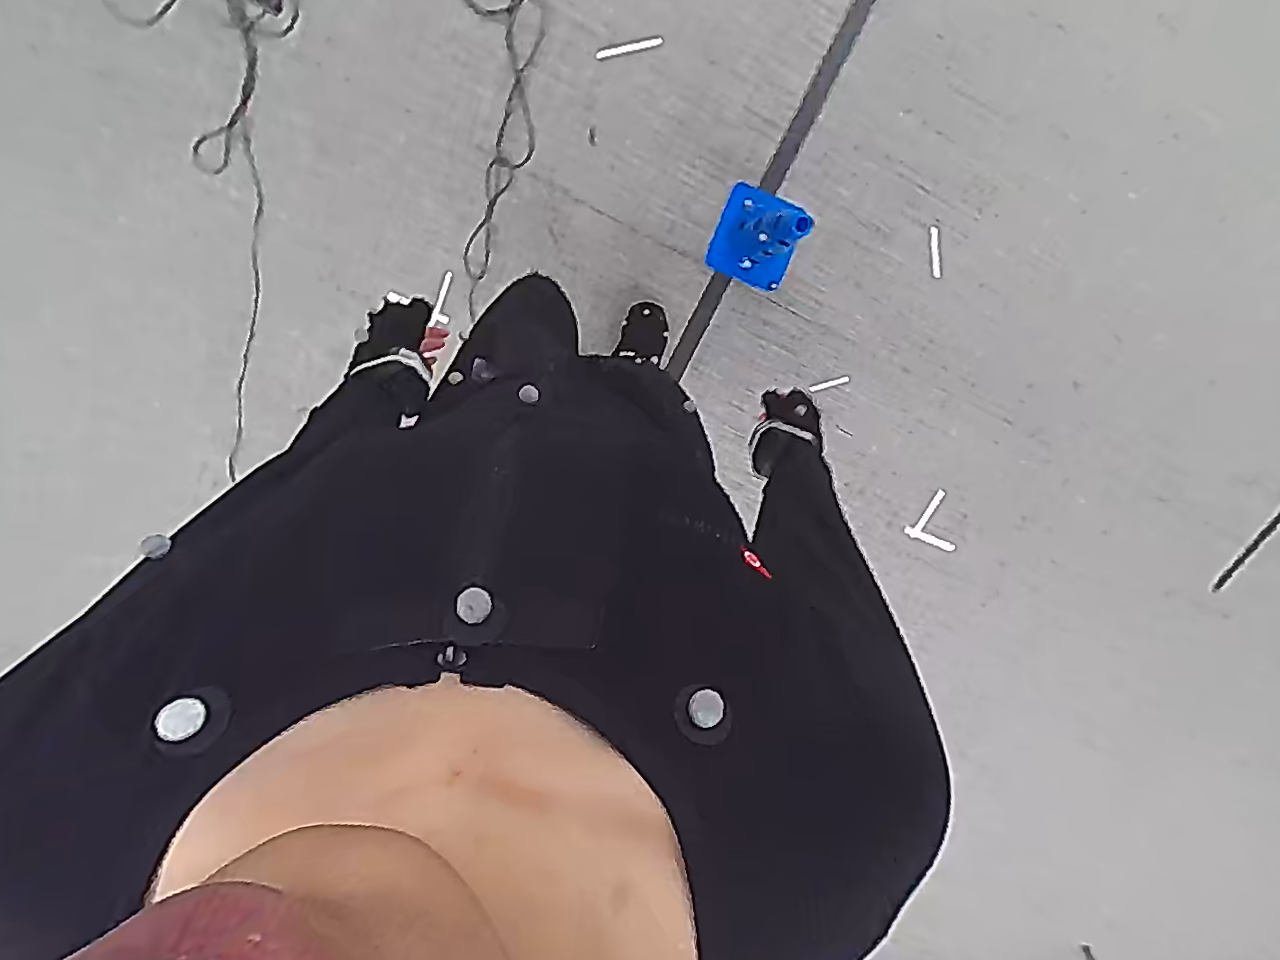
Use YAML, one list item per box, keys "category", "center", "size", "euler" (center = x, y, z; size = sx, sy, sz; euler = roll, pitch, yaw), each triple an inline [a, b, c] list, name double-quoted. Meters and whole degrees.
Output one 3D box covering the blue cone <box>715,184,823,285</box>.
- category: "blue cone"
  center: [0.297, -0.534, 1.153]
  size: [0.192, 0.380, 0.193]
  euler: [21, 108, -10]
